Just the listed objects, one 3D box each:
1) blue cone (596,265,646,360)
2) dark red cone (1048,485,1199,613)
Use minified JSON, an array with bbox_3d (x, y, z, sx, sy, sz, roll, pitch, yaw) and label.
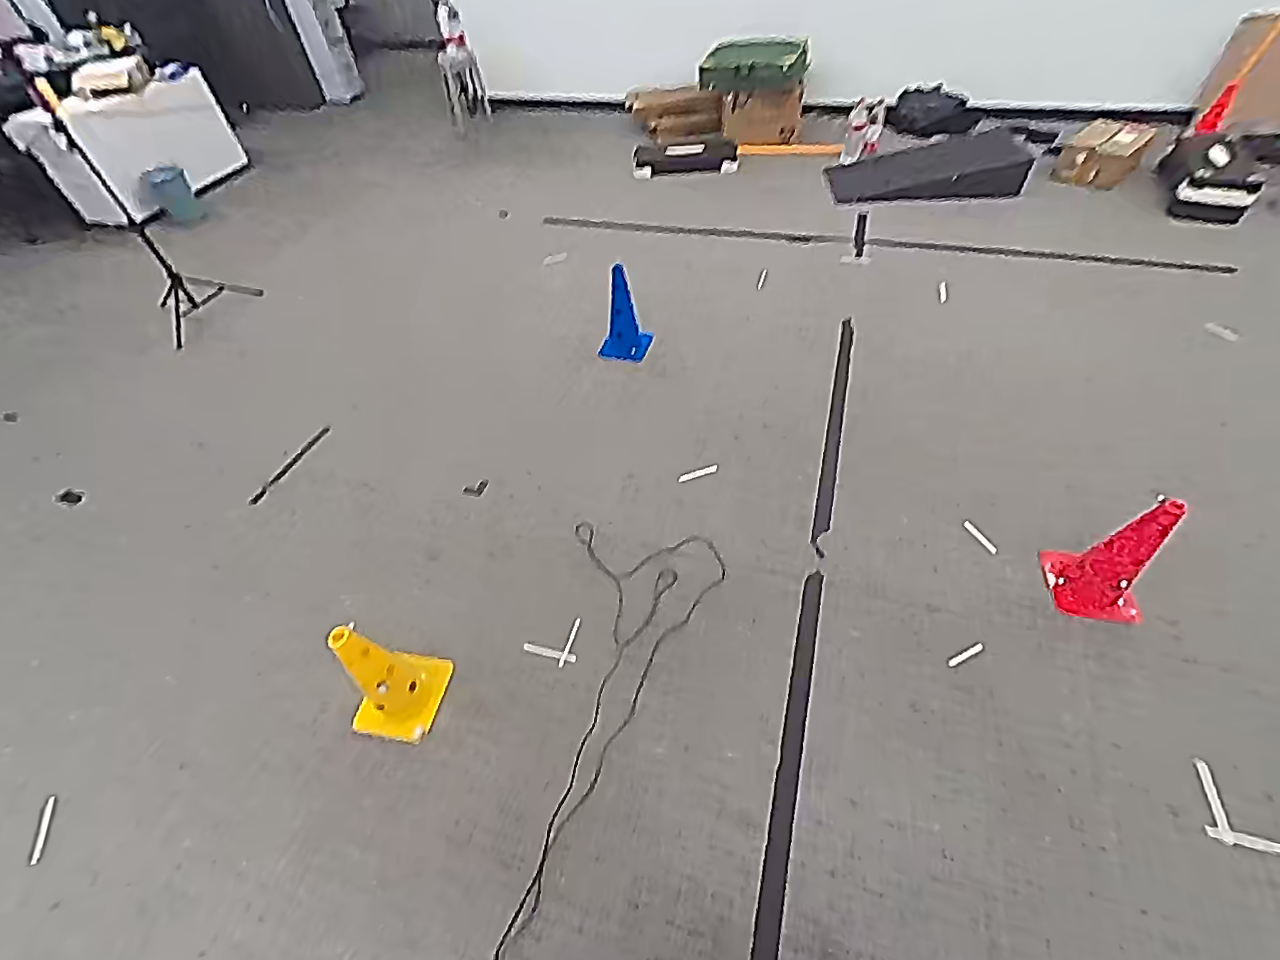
[{"bbox_3d":[-0.092,-0.678,2.178,0.192,0.380,0.193,11,51,15],"label":"blue cone"},{"bbox_3d":[1.197,0.148,1.309,0.201,0.394,0.202,4,50,10],"label":"dark red cone"}]
